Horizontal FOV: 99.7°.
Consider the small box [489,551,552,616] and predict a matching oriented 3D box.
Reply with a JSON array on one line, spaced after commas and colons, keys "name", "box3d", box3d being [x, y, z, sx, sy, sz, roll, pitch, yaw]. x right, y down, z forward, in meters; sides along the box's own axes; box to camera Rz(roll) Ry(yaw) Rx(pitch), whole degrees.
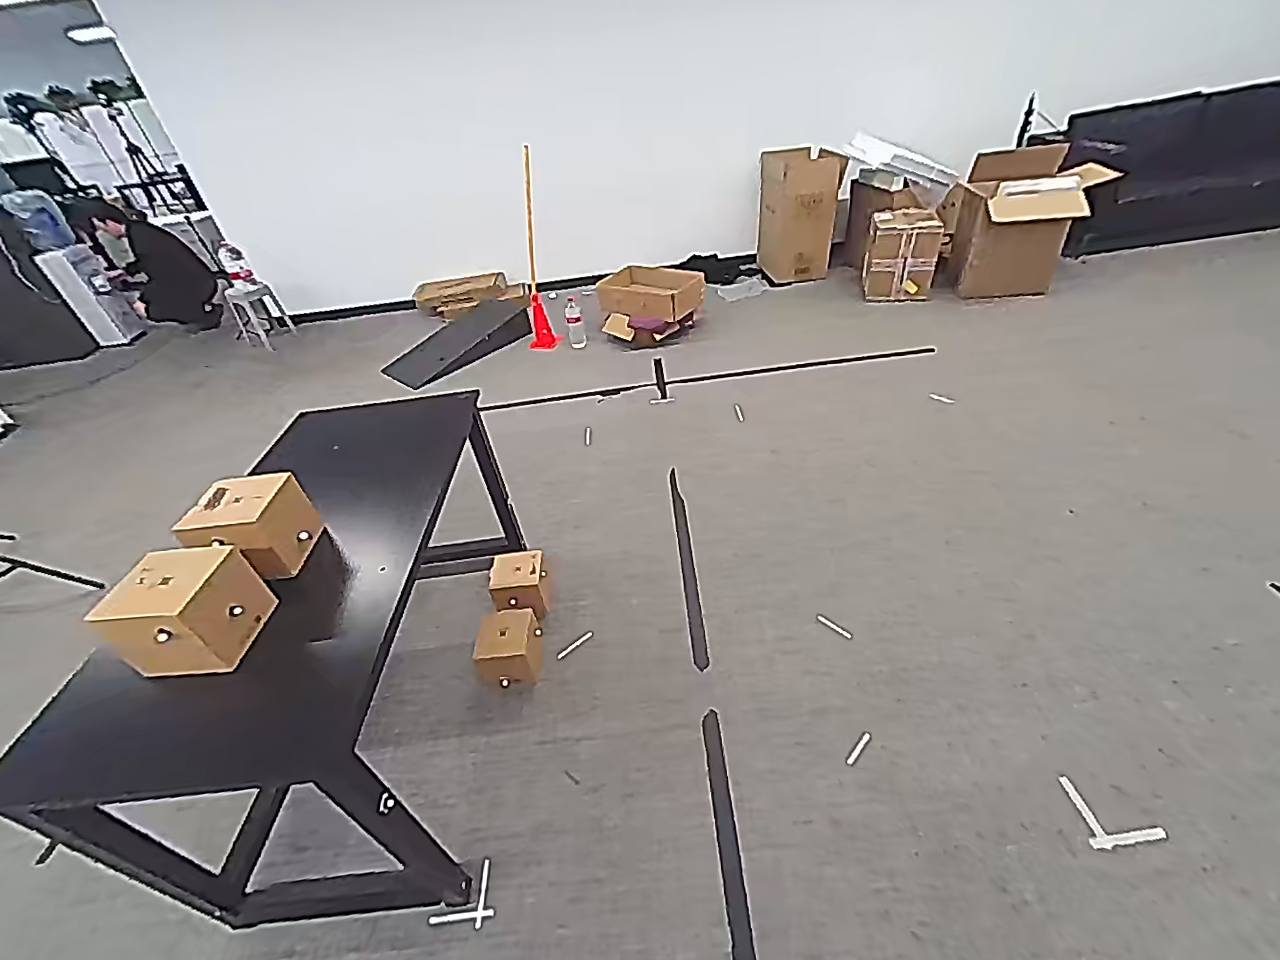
[{"name": "small box", "box3d": [-0.428, 0.383, 1.956, 0.179, 0.176, 0.168, -8, 39, 1]}]

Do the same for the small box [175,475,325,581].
[{"name": "small box", "box3d": [-0.847, 0.113, 1.195, 0.179, 0.176, 0.168, -7, 38, 1]}]

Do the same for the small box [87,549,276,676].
[{"name": "small box", "box3d": [-0.841, 0.250, 1.018, 0.179, 0.176, 0.168, -5, 38, 4]}]

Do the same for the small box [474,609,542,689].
[{"name": "small box", "box3d": [-0.419, 0.547, 1.751, 0.168, 0.176, 0.179, -8, 39, 2]}]
